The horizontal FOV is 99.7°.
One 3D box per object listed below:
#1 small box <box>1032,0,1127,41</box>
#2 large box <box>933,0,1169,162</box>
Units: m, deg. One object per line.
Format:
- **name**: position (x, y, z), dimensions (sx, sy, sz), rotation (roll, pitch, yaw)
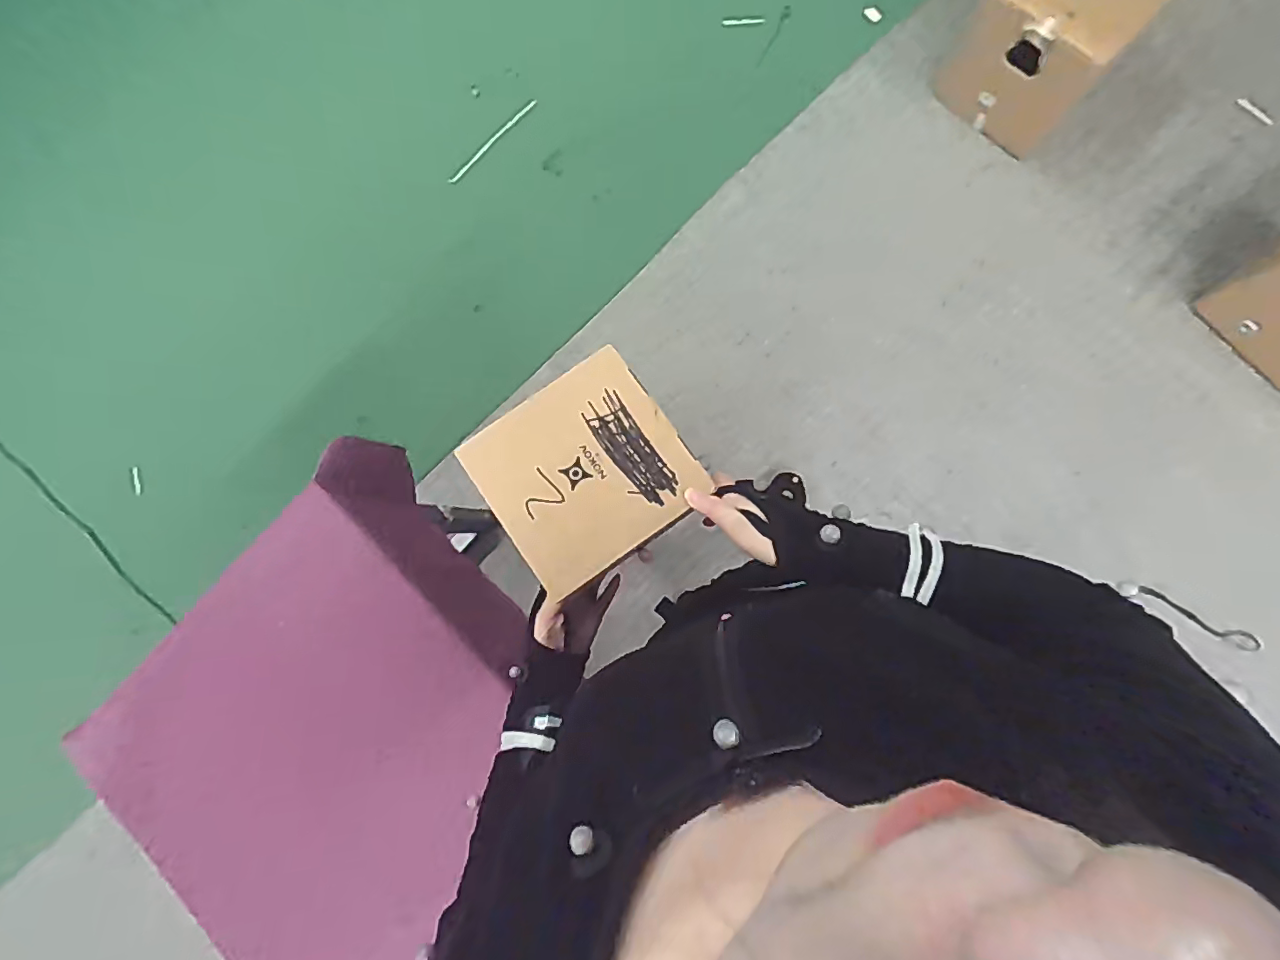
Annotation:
- **small box**: position (0.977, -1.094, 1.140), dimensions (0.179, 0.176, 0.168), rotation (-43, 81, 0)
- **large box**: position (1.059, -1.138, 1.382), dimensions (0.408, 0.320, 0.320), rotation (-45, 81, 0)
